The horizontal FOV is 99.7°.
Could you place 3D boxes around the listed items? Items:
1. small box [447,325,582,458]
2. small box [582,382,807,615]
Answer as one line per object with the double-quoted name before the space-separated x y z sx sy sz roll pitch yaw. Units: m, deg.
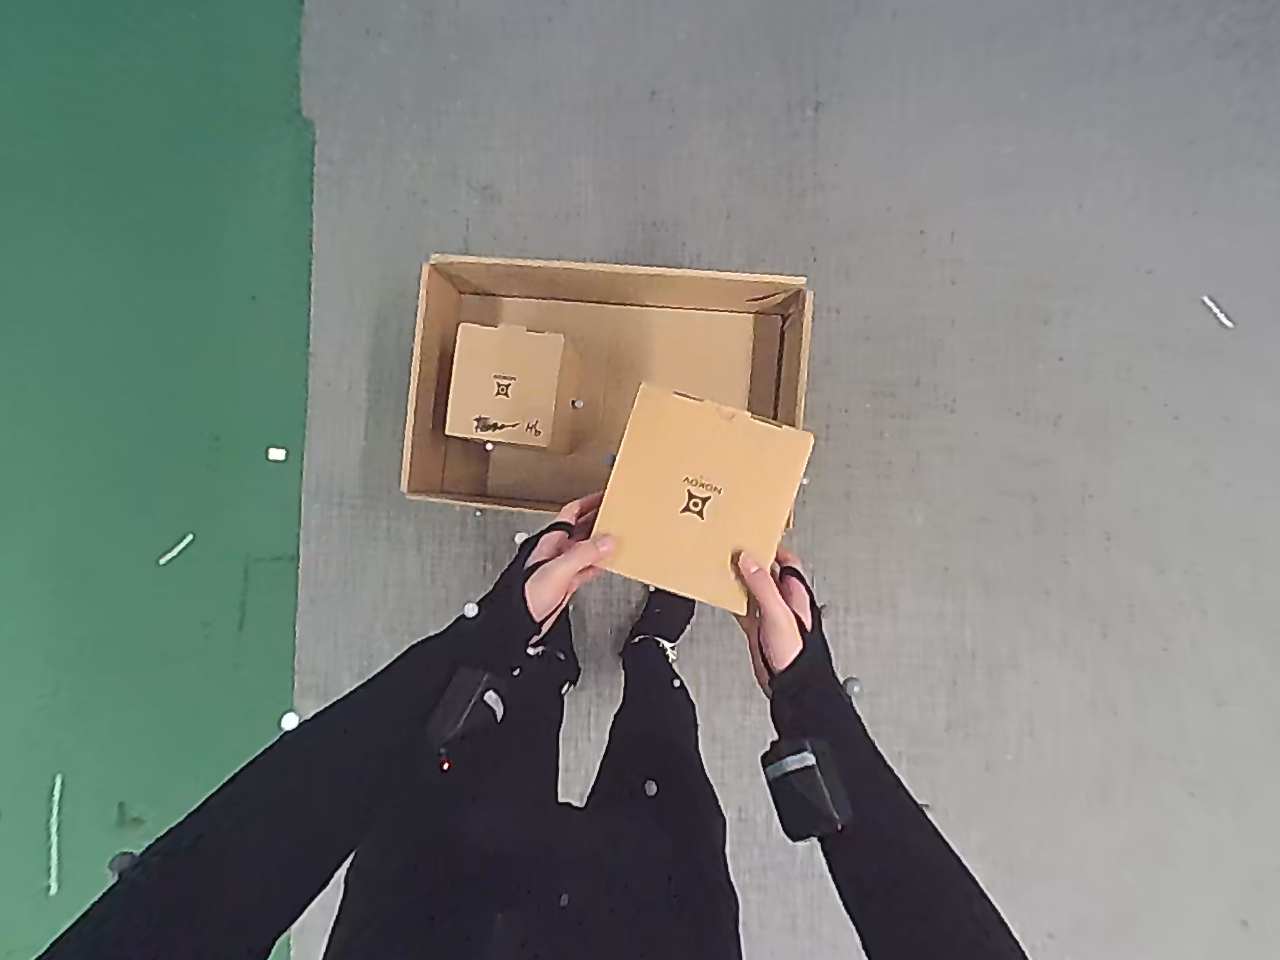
"small box" -0.197 -0.138 0.898 0.168 0.176 0.179 8 89 4
"small box" 0.054 0.017 0.571 0.168 0.176 0.179 18 91 3
